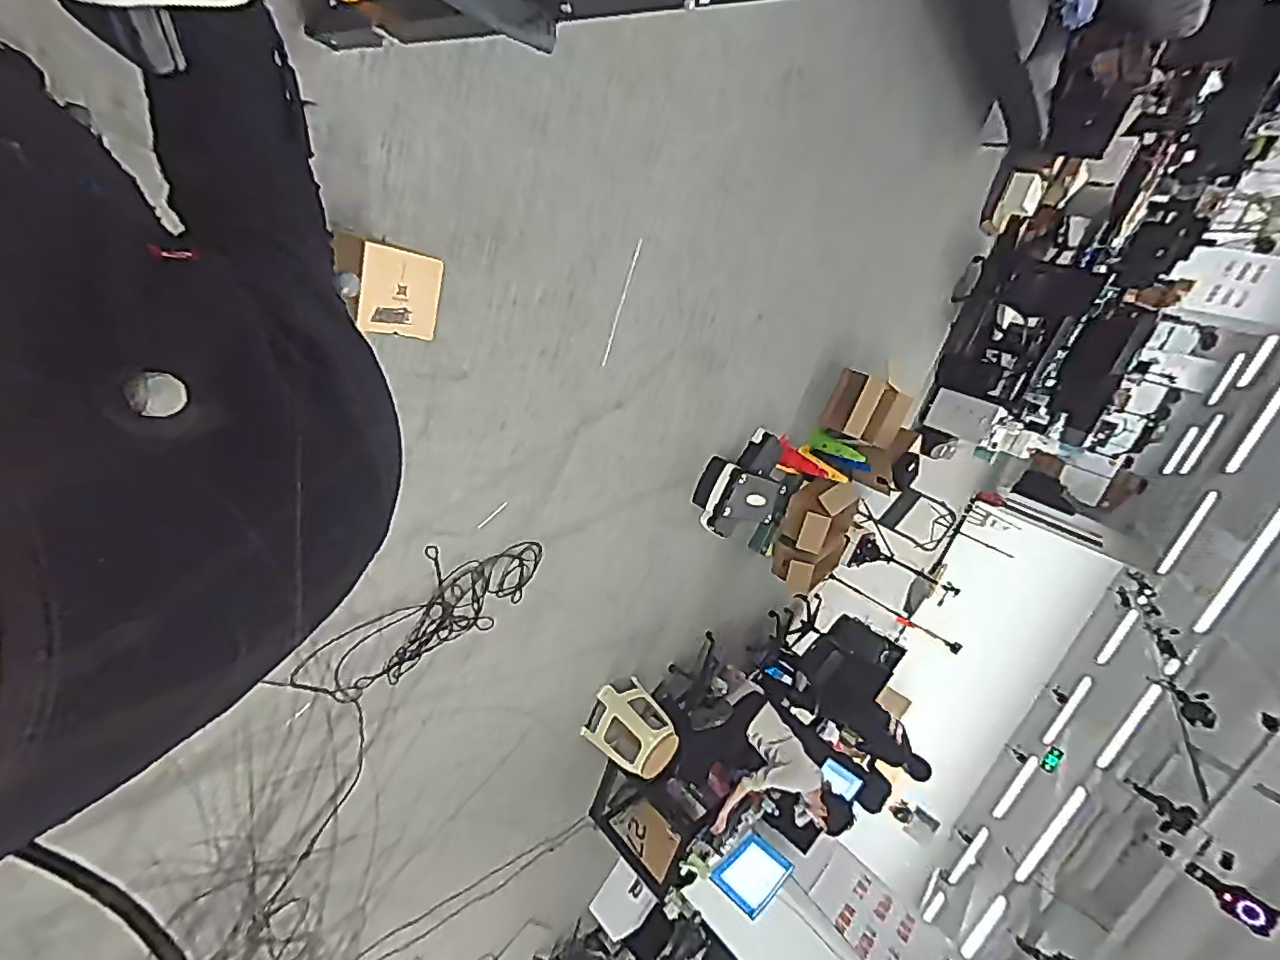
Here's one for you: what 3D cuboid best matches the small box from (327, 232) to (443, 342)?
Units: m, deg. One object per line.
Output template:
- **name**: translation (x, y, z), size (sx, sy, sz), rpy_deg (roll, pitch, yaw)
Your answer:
- **small box**: translation (-0.554, -0.415, 1.165), size (0.168, 0.176, 0.179), rpy_deg (-5, 118, -49)
